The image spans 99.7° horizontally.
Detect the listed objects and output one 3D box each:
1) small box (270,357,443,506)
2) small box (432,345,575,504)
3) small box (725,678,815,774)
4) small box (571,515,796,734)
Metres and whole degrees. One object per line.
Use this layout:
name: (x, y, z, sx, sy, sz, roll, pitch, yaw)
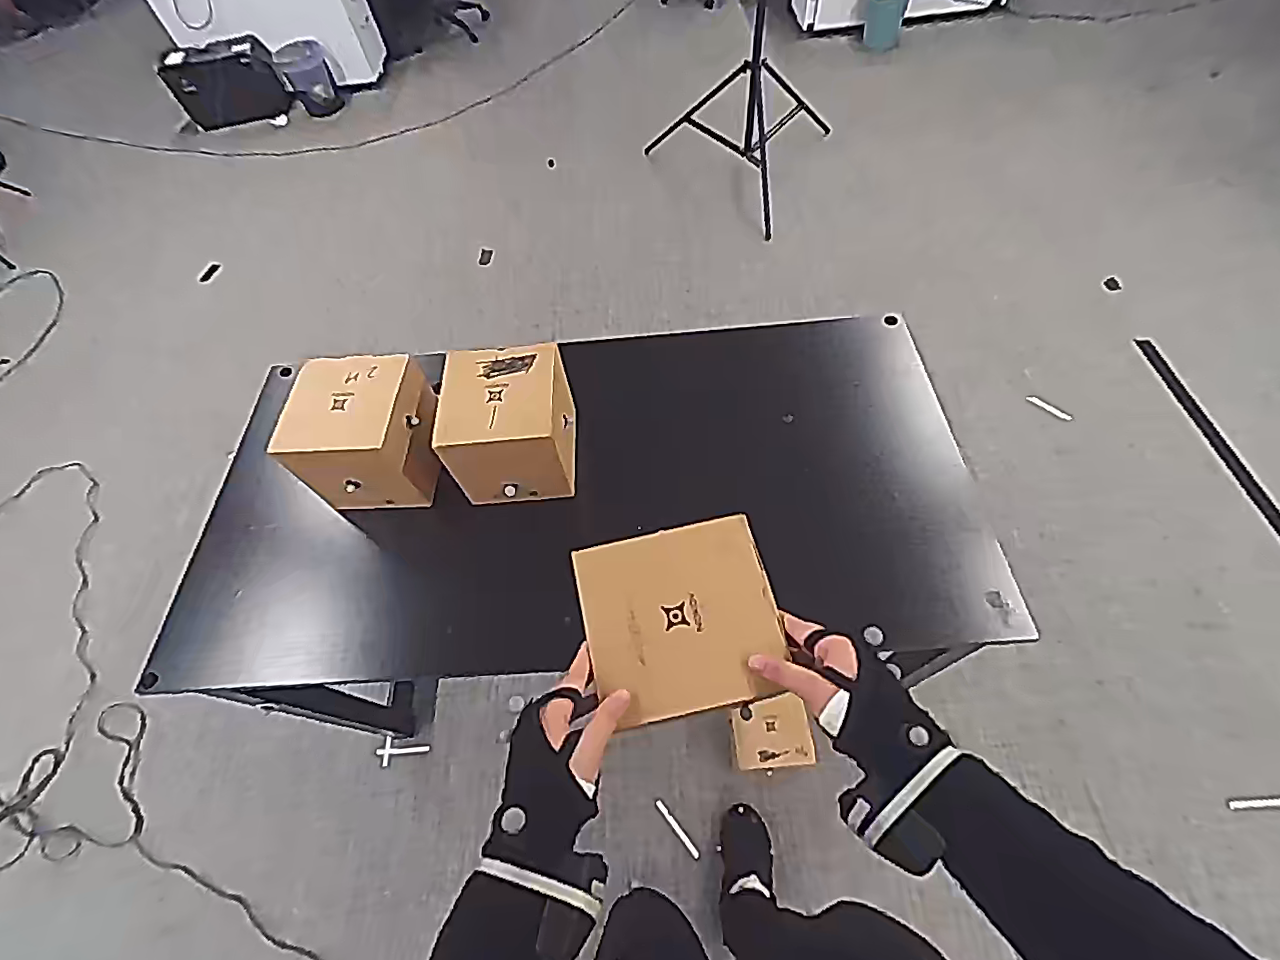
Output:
small box: (-0.421, -0.068, 0.847, 0.168, 0.176, 0.179, -2, 58, 3)
small box: (-0.198, -0.082, 0.834, 0.168, 0.176, 0.179, -5, 59, 2)
small box: (0.288, 0.568, 1.246, 0.168, 0.176, 0.179, -6, 58, 3)
small box: (0.038, 0.158, 0.564, 0.179, 0.176, 0.168, -14, 63, -2)
